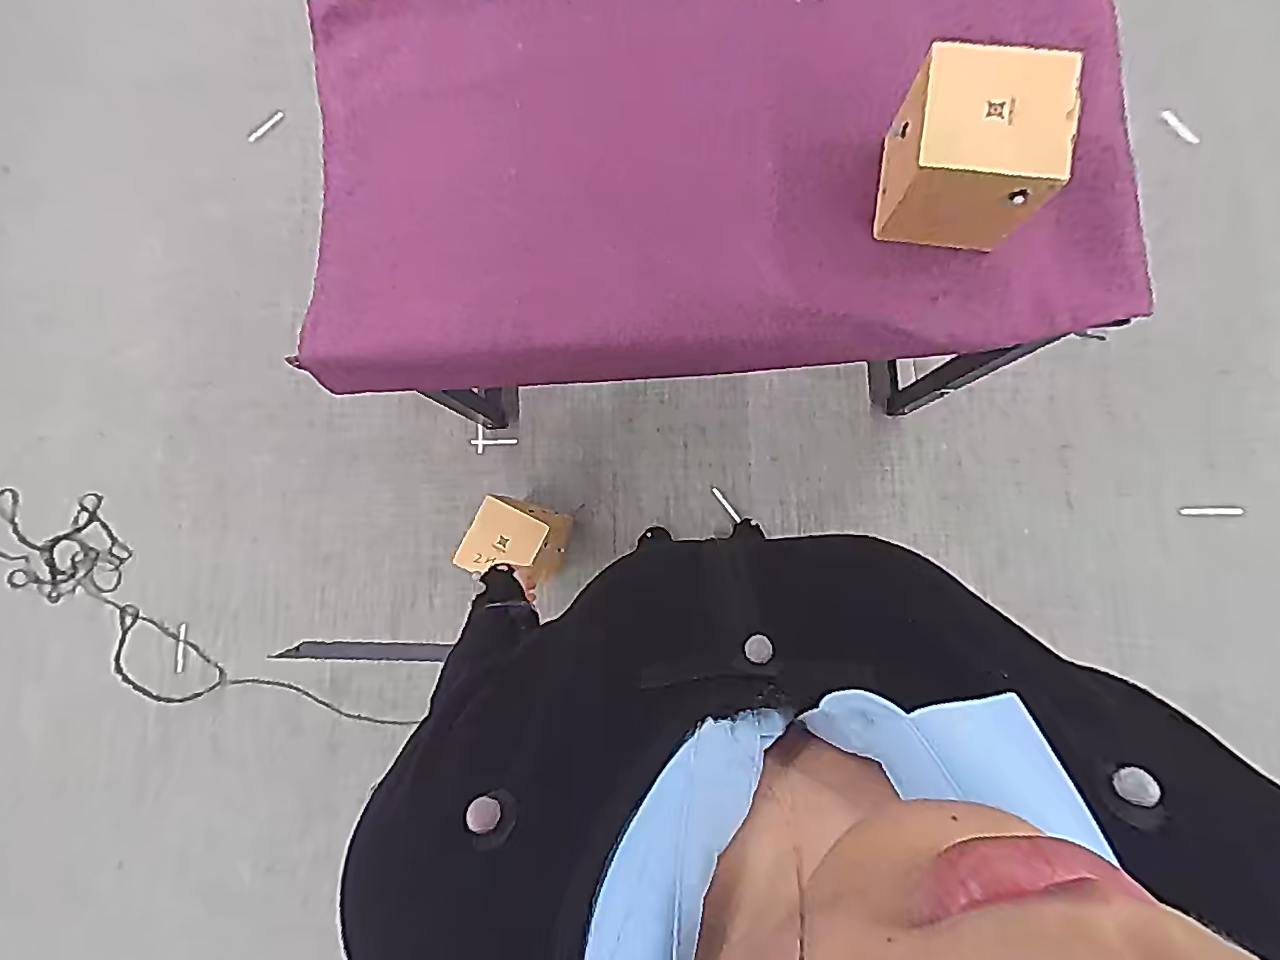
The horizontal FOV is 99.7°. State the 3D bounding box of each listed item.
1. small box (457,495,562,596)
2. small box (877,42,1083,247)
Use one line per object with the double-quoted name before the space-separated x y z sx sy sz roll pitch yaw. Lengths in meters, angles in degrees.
"small box" -0.299 0.151 1.289 0.168 0.176 0.179 27 88 5
"small box" 0.439 -0.437 0.727 0.179 0.176 0.168 8 85 5
